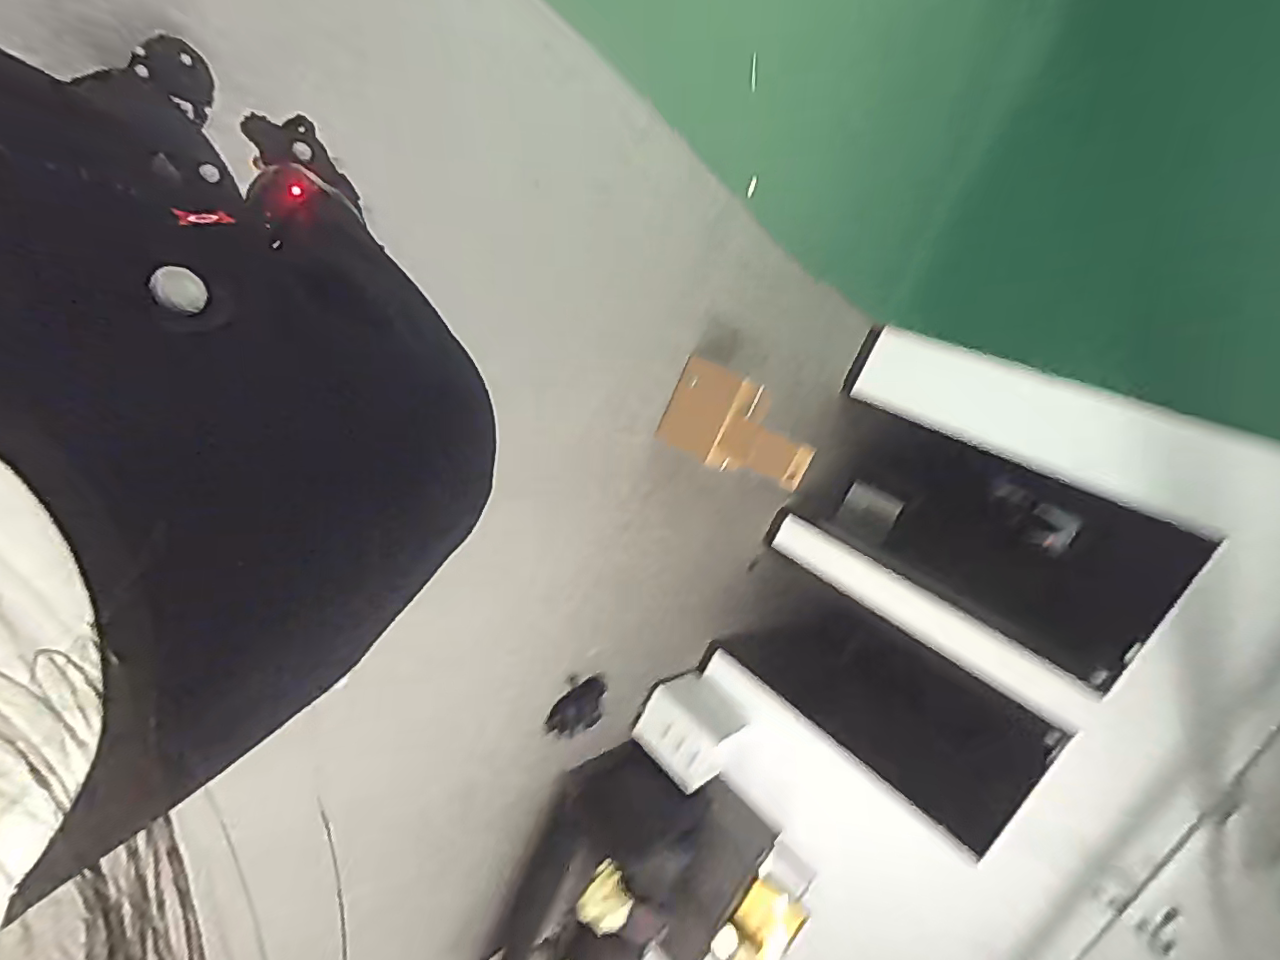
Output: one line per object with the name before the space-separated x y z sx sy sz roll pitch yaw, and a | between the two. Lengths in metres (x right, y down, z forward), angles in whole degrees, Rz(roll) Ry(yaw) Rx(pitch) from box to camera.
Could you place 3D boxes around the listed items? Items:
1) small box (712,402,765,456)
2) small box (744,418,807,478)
small box | 0.437 -0.210 2.310 0.168 0.176 0.179 16 106 -53
small box | 0.550 -0.132 2.220 0.168 0.176 0.179 14 105 -53
